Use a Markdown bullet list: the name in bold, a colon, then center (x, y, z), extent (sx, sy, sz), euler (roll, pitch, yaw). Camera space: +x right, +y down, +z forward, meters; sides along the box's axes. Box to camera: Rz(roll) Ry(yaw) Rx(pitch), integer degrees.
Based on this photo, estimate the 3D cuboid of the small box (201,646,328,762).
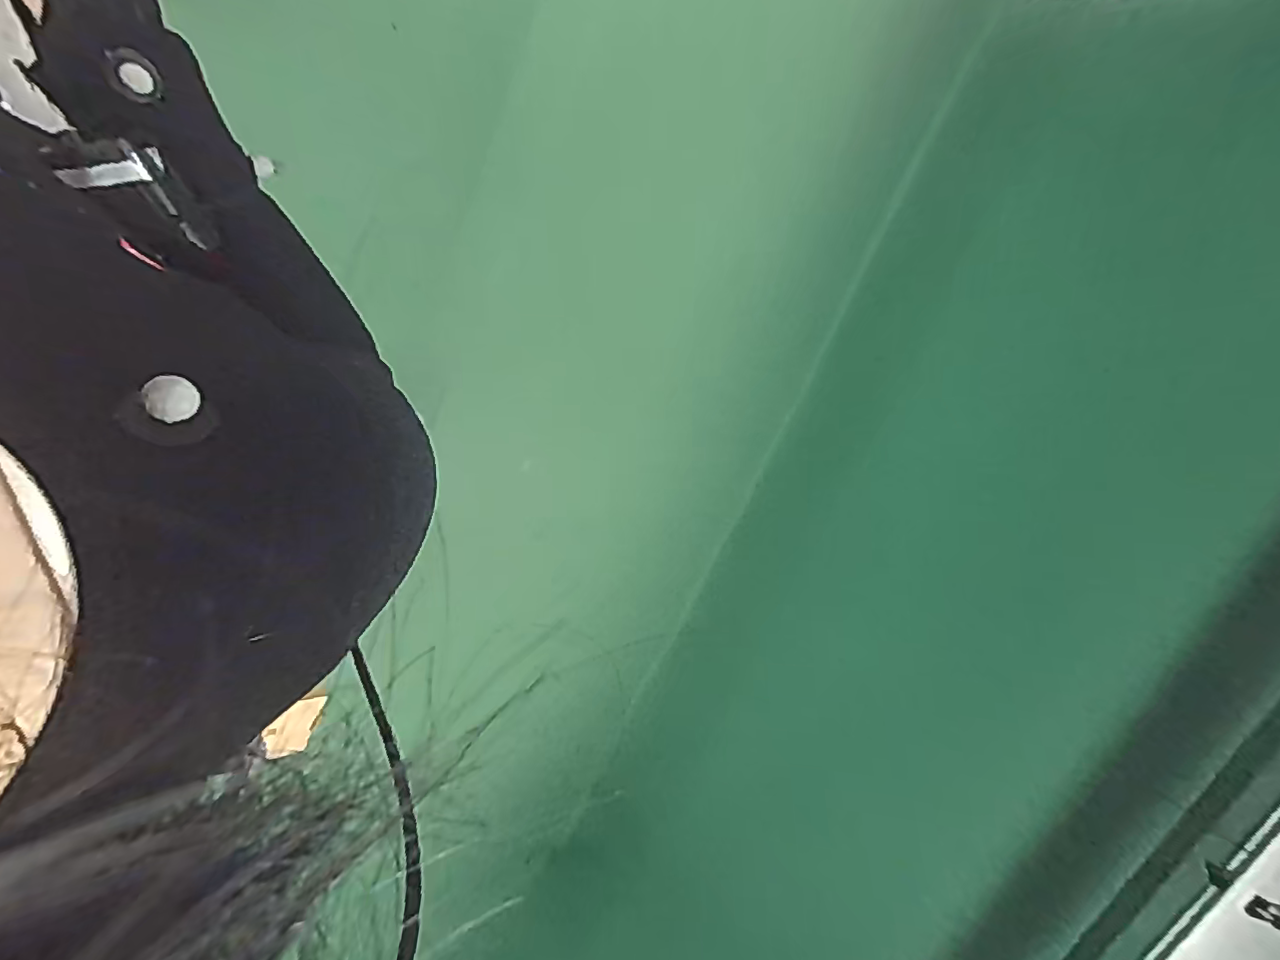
- **small box**: center (-0.872, 0.506, 1.255), extent (0.179, 0.176, 0.168), euler (14, 108, -55)
